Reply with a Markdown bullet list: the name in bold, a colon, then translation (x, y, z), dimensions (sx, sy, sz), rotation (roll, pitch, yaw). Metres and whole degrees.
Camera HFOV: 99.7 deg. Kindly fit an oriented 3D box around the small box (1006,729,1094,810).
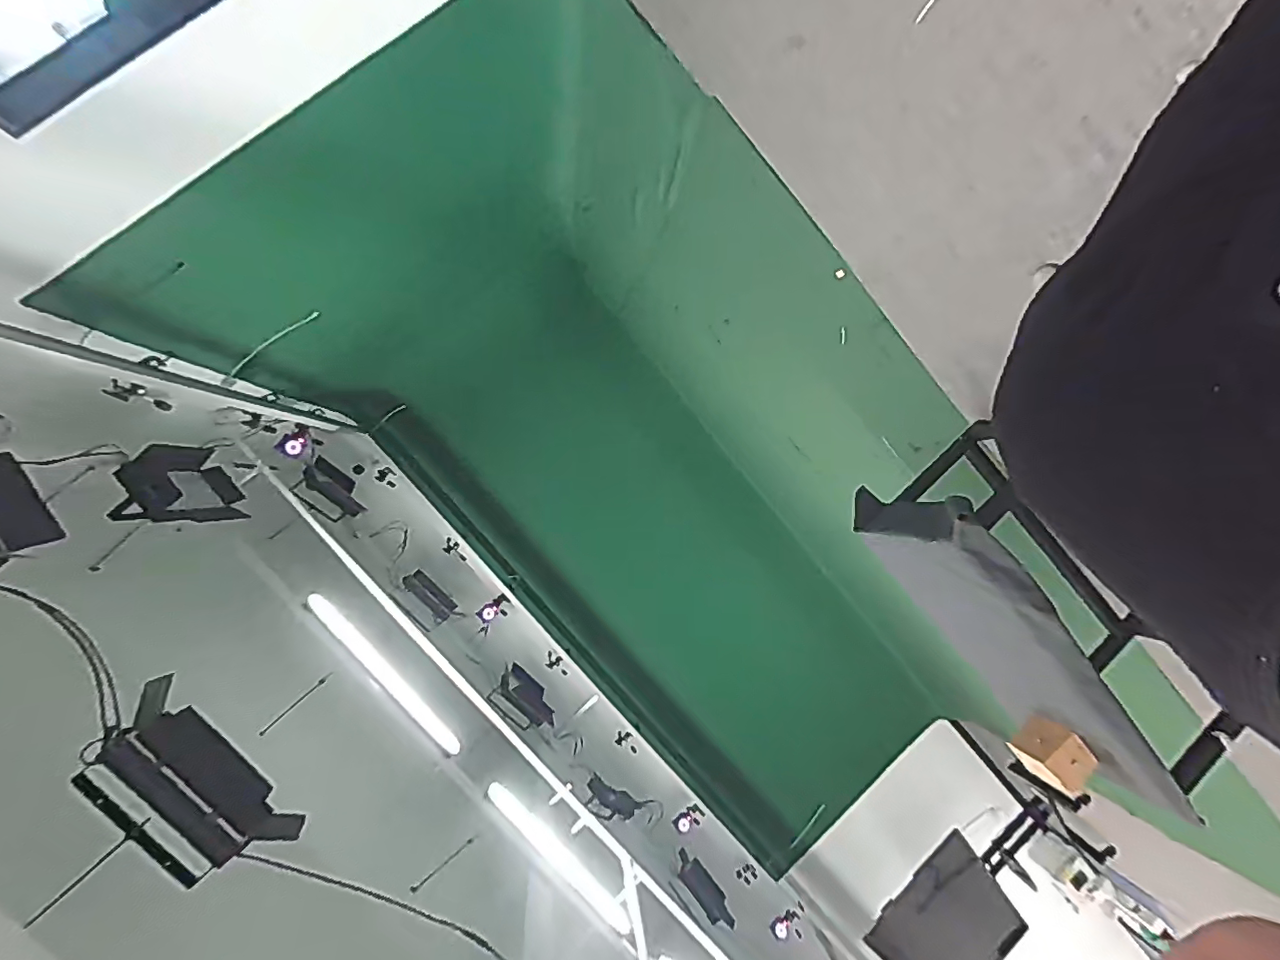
- **small box**: translation (1.530, 1.064, 2.008), dimensions (0.168, 0.176, 0.179), rotation (51, 172, -5)
